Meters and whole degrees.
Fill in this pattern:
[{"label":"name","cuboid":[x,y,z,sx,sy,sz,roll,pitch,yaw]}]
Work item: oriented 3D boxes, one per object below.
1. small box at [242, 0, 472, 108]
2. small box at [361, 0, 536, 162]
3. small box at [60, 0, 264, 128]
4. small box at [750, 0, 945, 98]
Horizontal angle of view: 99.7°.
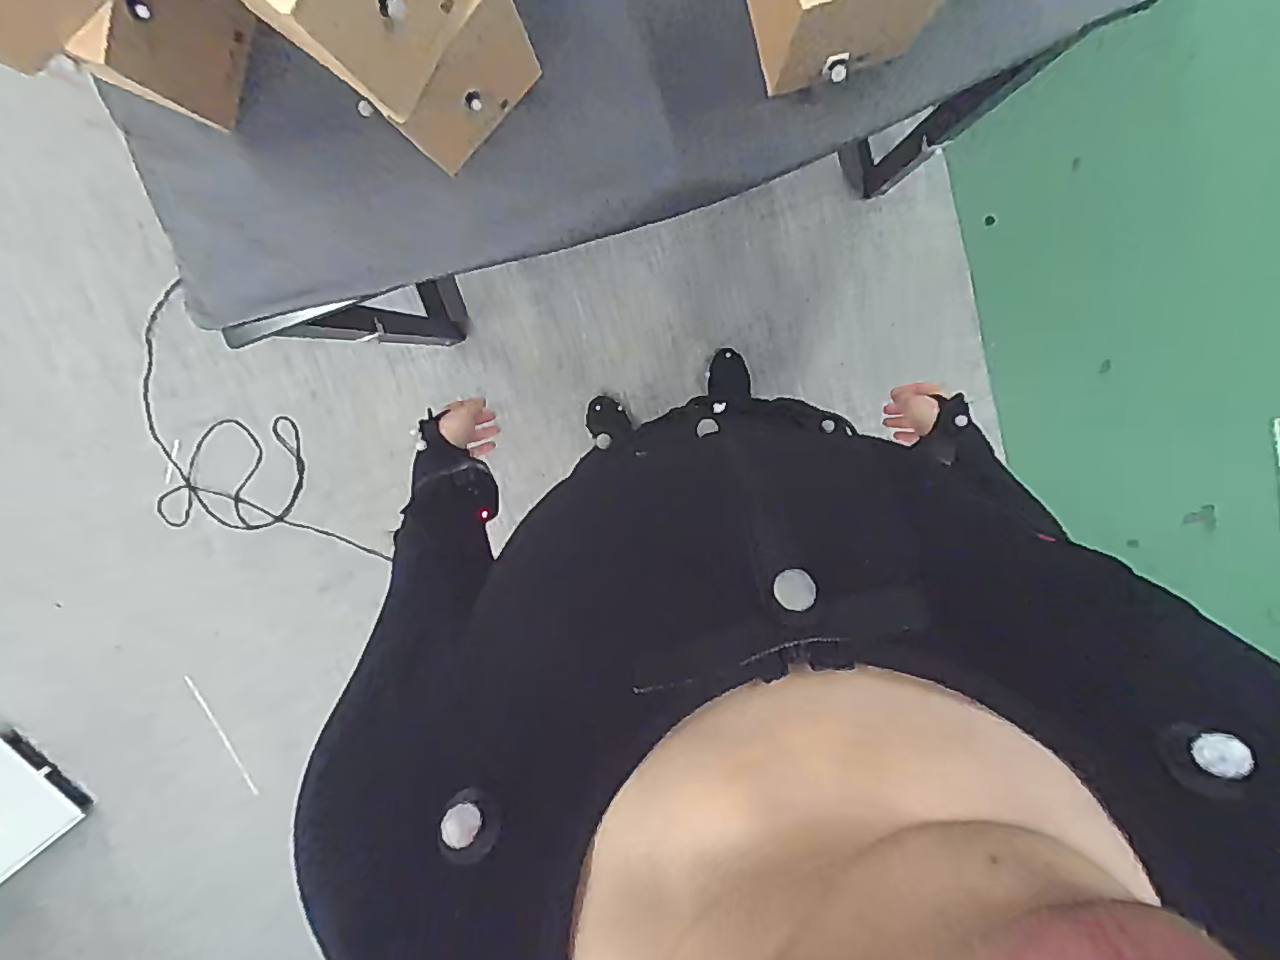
[{"label":"small box","cuboid":[-0.249,-0.435,0.418,0.179,0.176,0.168,36,102,-4]},{"label":"small box","cuboid":[-0.237,-0.477,0.575,0.168,0.176,0.179,-42,96,10]},{"label":"small box","cuboid":[-0.562,-0.522,0.583,0.179,0.176,0.168,22,103,-2]},{"label":"small box","cuboid":[0.203,-0.535,0.539,0.168,0.176,0.179,-16,100,8]}]
